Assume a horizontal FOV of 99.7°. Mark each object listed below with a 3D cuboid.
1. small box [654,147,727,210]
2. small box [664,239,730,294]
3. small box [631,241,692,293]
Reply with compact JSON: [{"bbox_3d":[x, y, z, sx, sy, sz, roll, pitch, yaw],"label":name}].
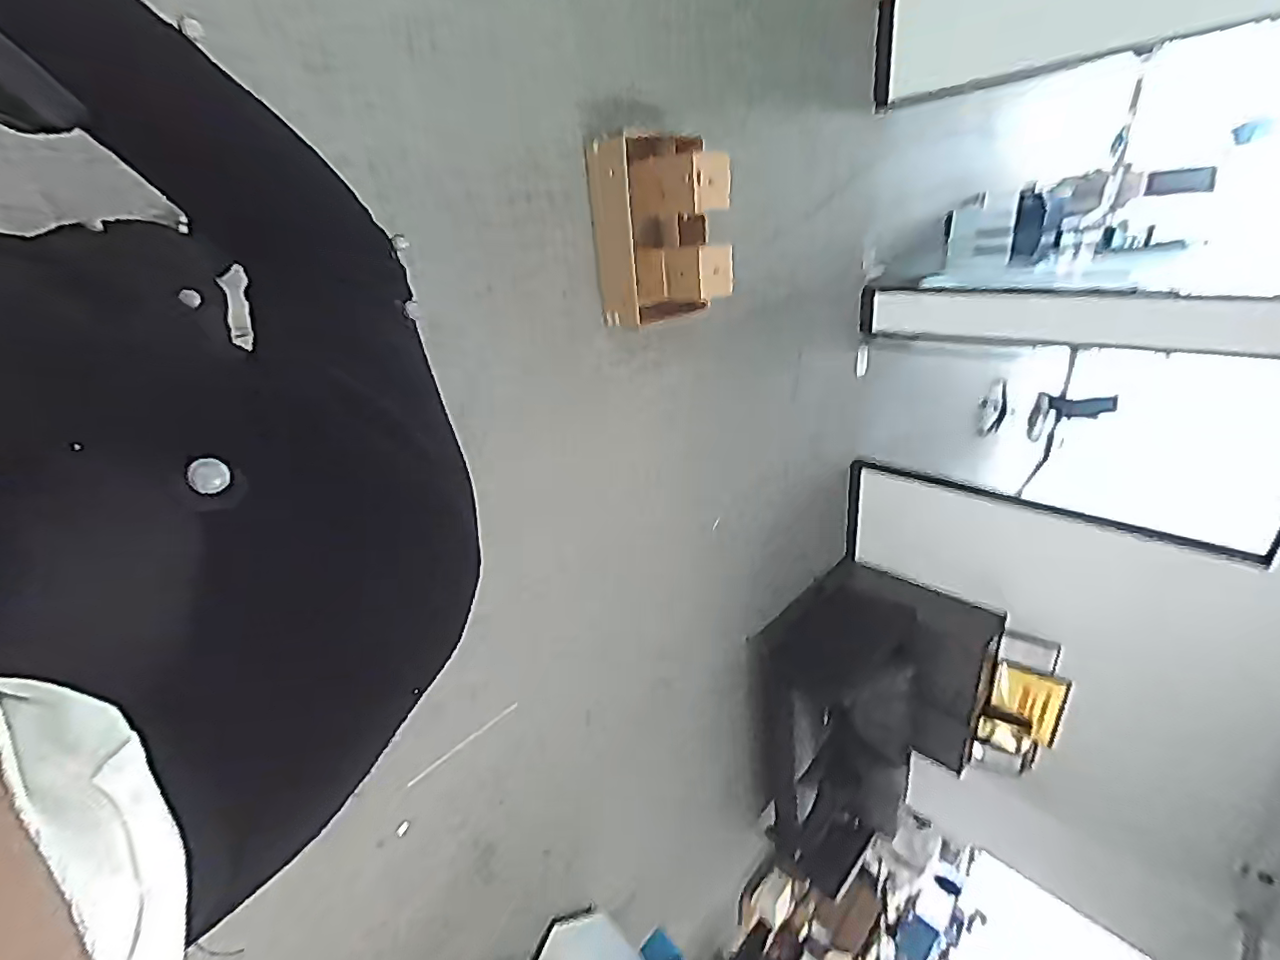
[{"bbox_3d":[0.166,-0.986,1.771,0.179,0.176,0.168,-27,124,-36],"label":"small box"},{"bbox_3d":[0.194,-0.748,1.898,0.179,0.176,0.168,-25,121,-37],"label":"small box"},{"bbox_3d":[0.080,-0.791,2.008,0.179,0.176,0.168,-25,122,-37],"label":"small box"}]
